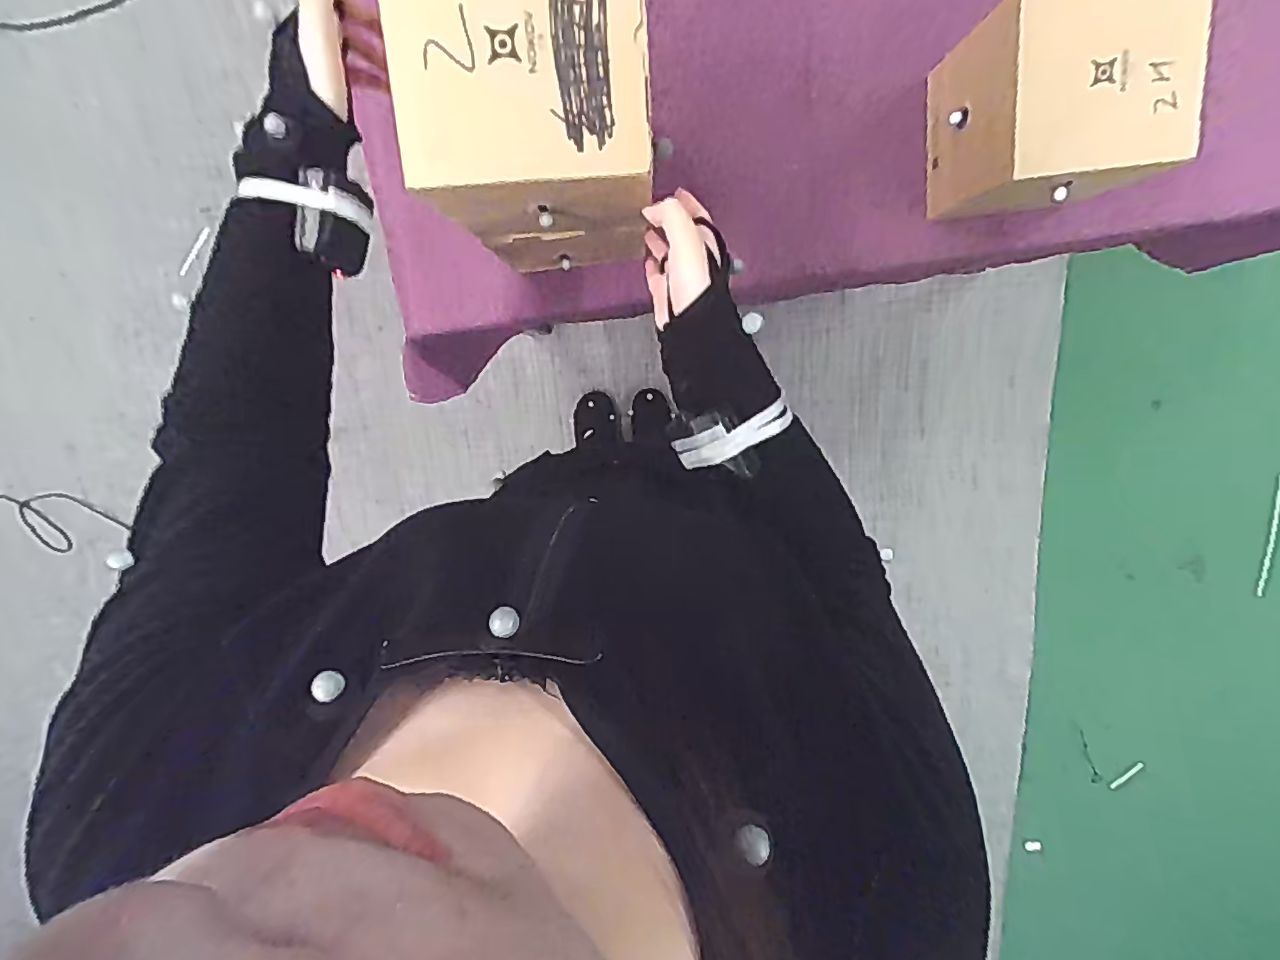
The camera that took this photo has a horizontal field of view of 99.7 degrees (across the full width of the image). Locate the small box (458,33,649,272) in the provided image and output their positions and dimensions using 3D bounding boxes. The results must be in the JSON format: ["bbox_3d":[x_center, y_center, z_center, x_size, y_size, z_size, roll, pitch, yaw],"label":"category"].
[{"bbox_3d":[-0.083,-0.341,0.598,0.168,0.176,0.179,-7,104,1],"label":"small box"}]

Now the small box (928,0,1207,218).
[{"bbox_3d":[0.436,-0.395,0.584,0.179,0.176,0.168,-6,104,1],"label":"small box"}]
